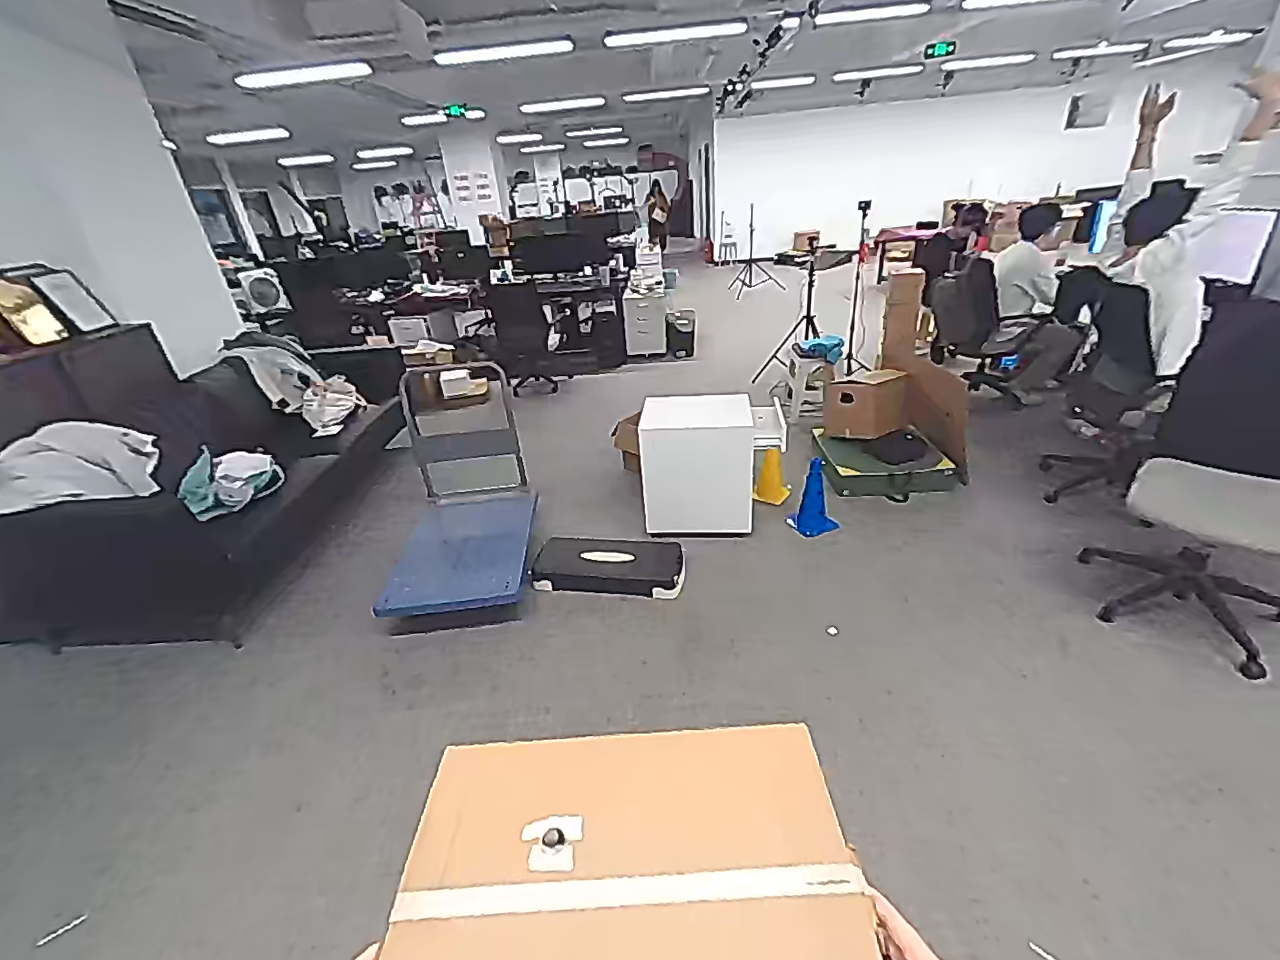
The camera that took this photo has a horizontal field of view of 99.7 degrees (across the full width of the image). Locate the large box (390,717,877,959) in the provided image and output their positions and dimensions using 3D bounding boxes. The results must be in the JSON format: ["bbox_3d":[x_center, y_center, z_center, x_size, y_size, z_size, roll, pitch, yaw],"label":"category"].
[{"bbox_3d":[0.004,0.492,0.555,0.408,0.320,0.320,-6,29,2],"label":"large box"}]
